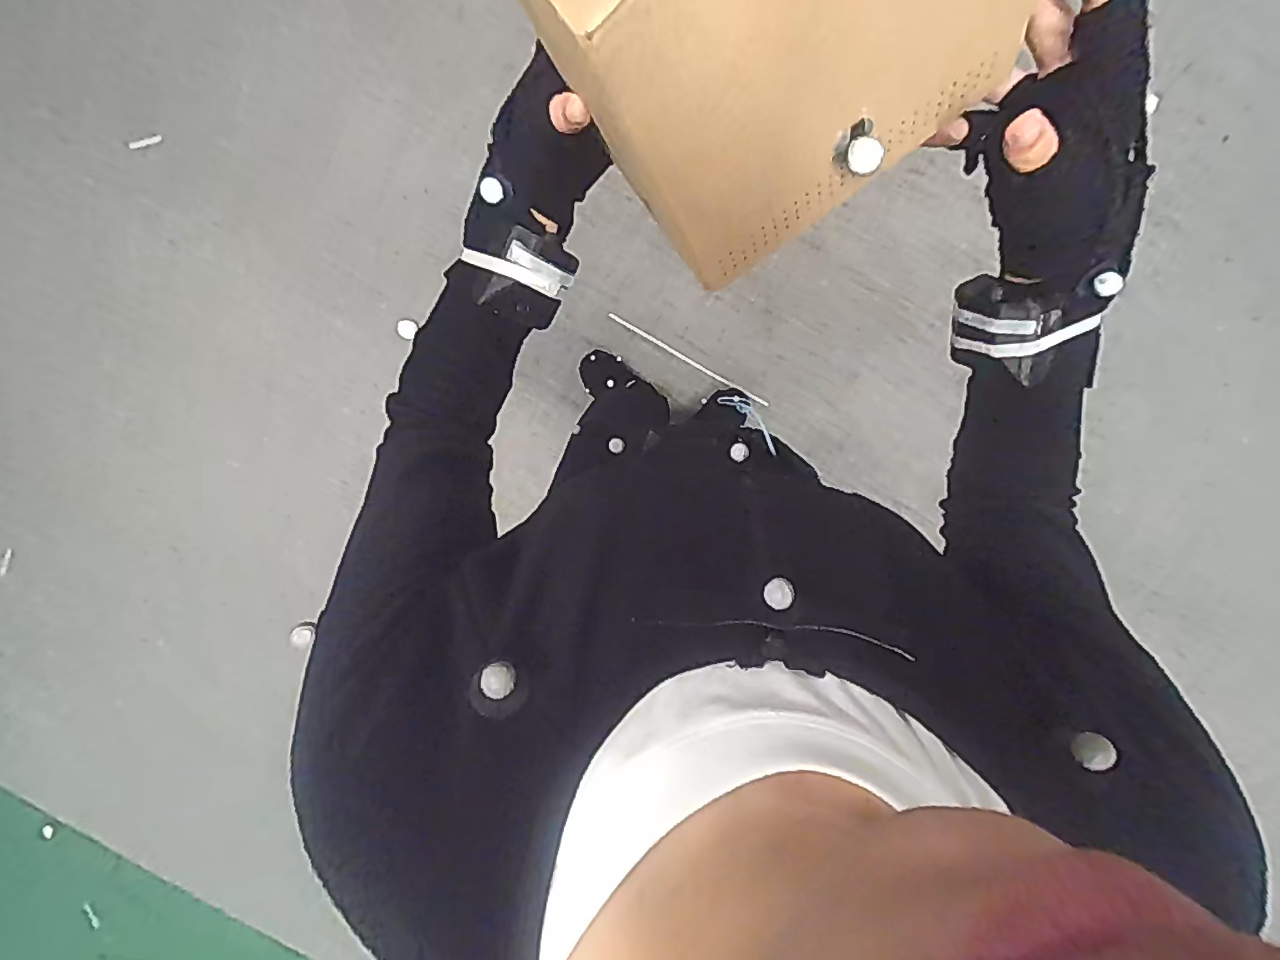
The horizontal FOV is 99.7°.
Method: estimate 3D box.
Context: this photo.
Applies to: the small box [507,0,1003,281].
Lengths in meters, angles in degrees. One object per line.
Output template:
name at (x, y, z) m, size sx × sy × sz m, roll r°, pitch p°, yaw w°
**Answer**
small box at (0.037, -0.225, 0.226) m, size 0.179 × 0.176 × 0.168 m, roll -34°, pitch 73°, yaw 13°
